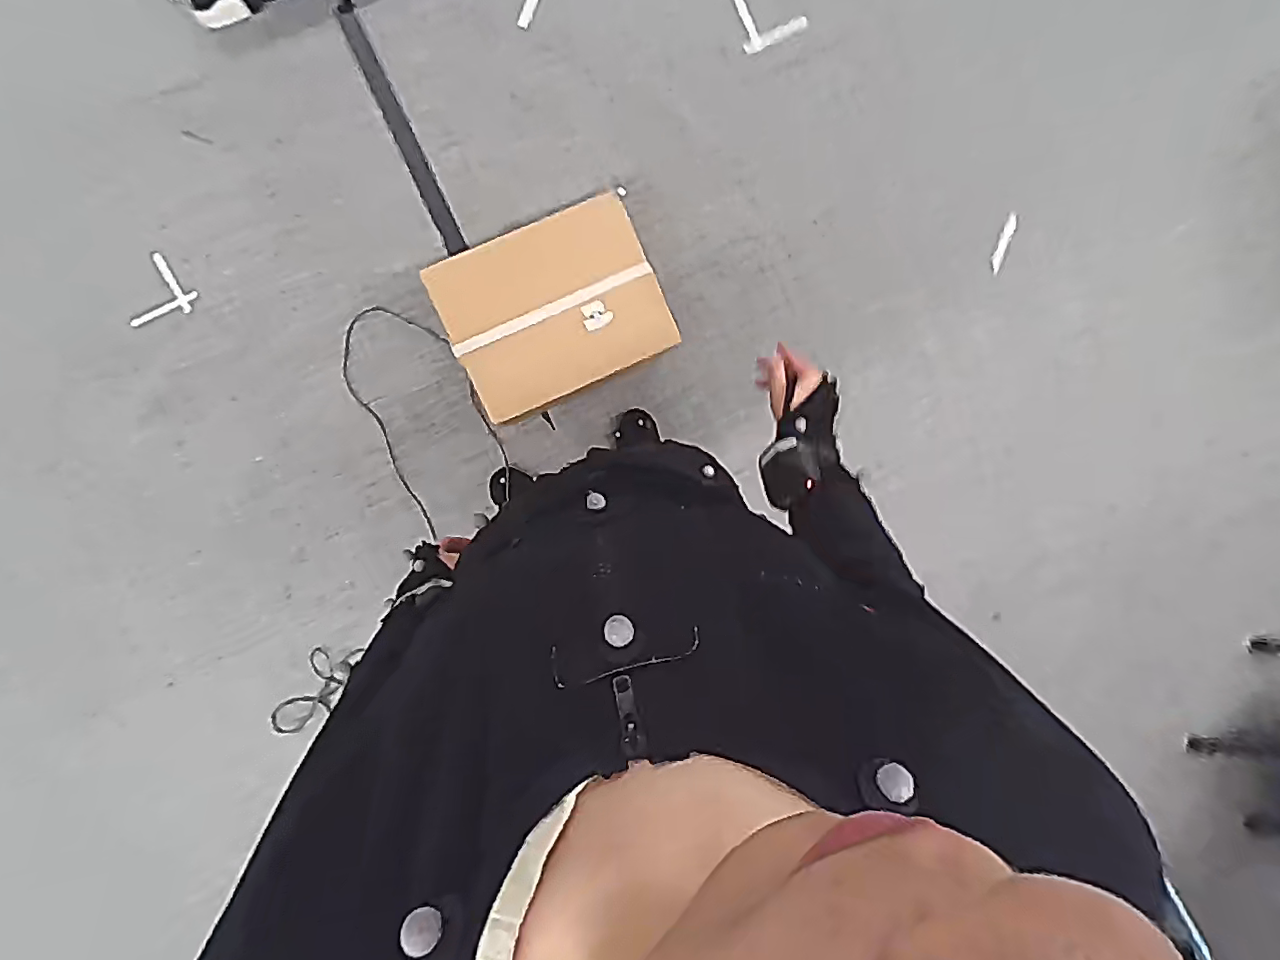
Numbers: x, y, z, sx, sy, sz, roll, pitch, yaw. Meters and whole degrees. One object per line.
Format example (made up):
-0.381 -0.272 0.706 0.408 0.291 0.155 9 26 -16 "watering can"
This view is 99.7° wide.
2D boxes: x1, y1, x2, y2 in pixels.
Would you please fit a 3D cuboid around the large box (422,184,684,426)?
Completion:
-0.174 -0.337 1.150 0.408 0.320 0.320 -26 99 -5 "large box"
